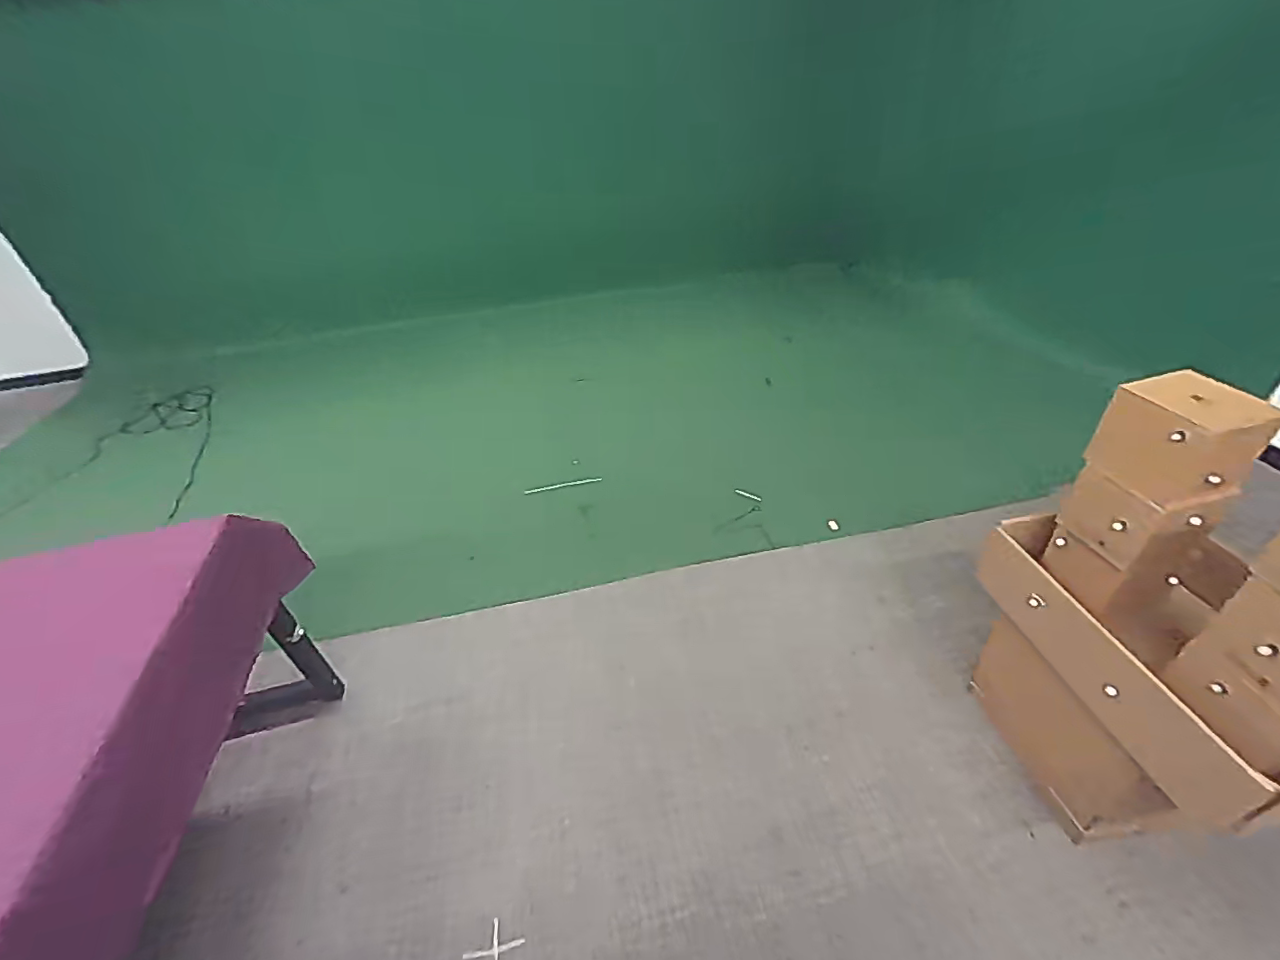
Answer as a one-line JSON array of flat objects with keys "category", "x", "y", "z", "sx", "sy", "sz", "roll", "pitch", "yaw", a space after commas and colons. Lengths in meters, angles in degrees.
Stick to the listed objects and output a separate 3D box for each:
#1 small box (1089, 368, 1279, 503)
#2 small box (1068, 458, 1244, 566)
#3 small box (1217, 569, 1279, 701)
[{"category": "small box", "x": 1.001, "y": -0.084, "z": 1.003, "sx": 0.168, "sy": 0.176, "sz": 0.179, "roll": -13, "pitch": 39, "yaw": -8}, {"category": "small box", "x": 1.018, "y": 0.052, "z": 1.091, "sx": 0.179, "sy": 0.176, "sz": 0.168, "roll": -12, "pitch": 38, "yaw": -8}, {"category": "small box", "x": 1.067, "y": 0.244, "z": 0.834, "sx": 0.179, "sy": 0.176, "sz": 0.168, "roll": -9, "pitch": 38, "yaw": -2}]
